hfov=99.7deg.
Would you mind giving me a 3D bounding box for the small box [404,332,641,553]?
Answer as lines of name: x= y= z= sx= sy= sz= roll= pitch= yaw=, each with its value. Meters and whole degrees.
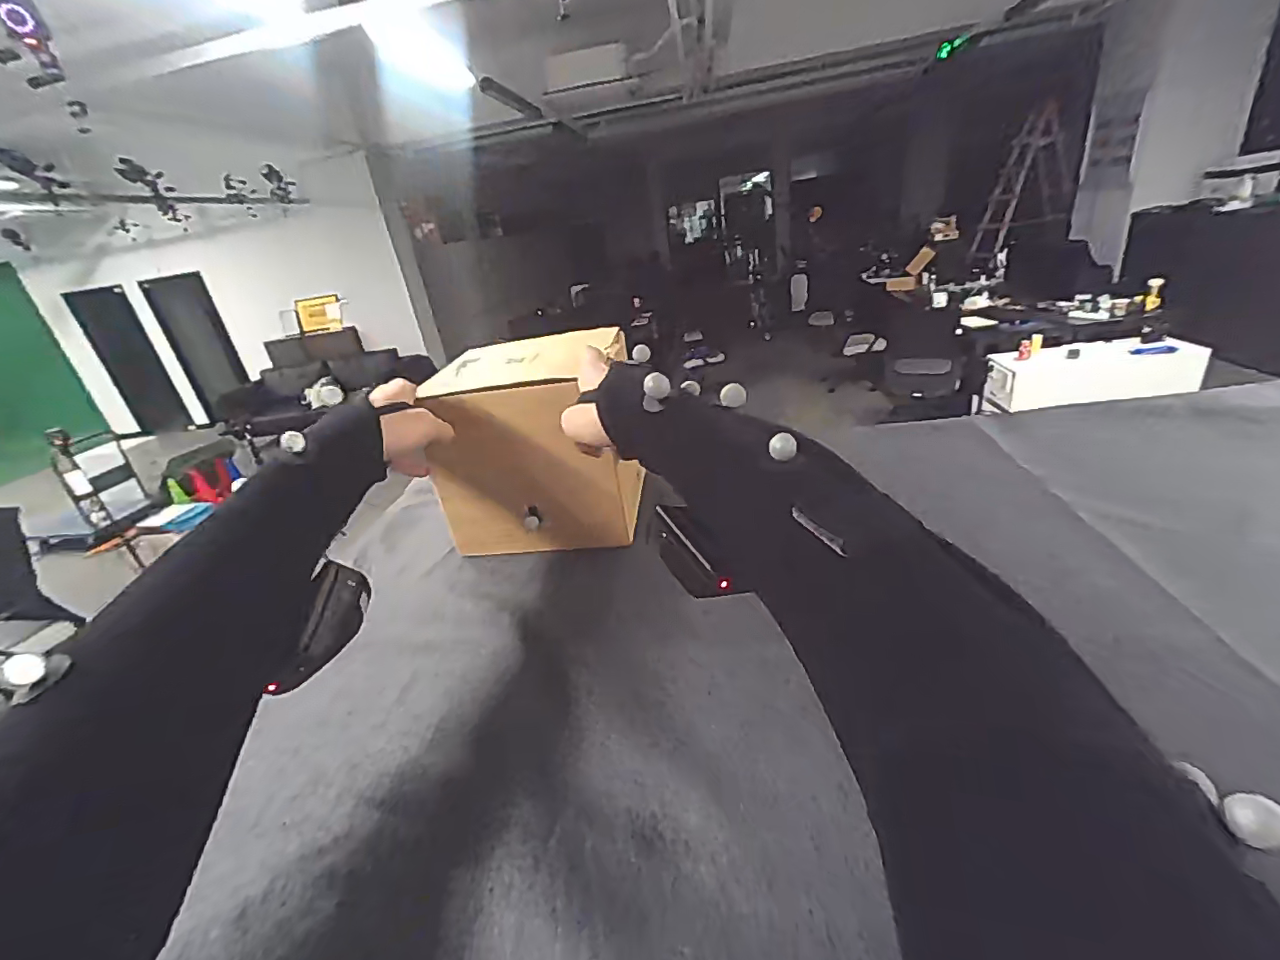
small box: x=-0.097 y=-0.040 z=0.551 sx=0.179 sy=0.176 sz=0.168 roll=-4 pitch=28 yaw=8
